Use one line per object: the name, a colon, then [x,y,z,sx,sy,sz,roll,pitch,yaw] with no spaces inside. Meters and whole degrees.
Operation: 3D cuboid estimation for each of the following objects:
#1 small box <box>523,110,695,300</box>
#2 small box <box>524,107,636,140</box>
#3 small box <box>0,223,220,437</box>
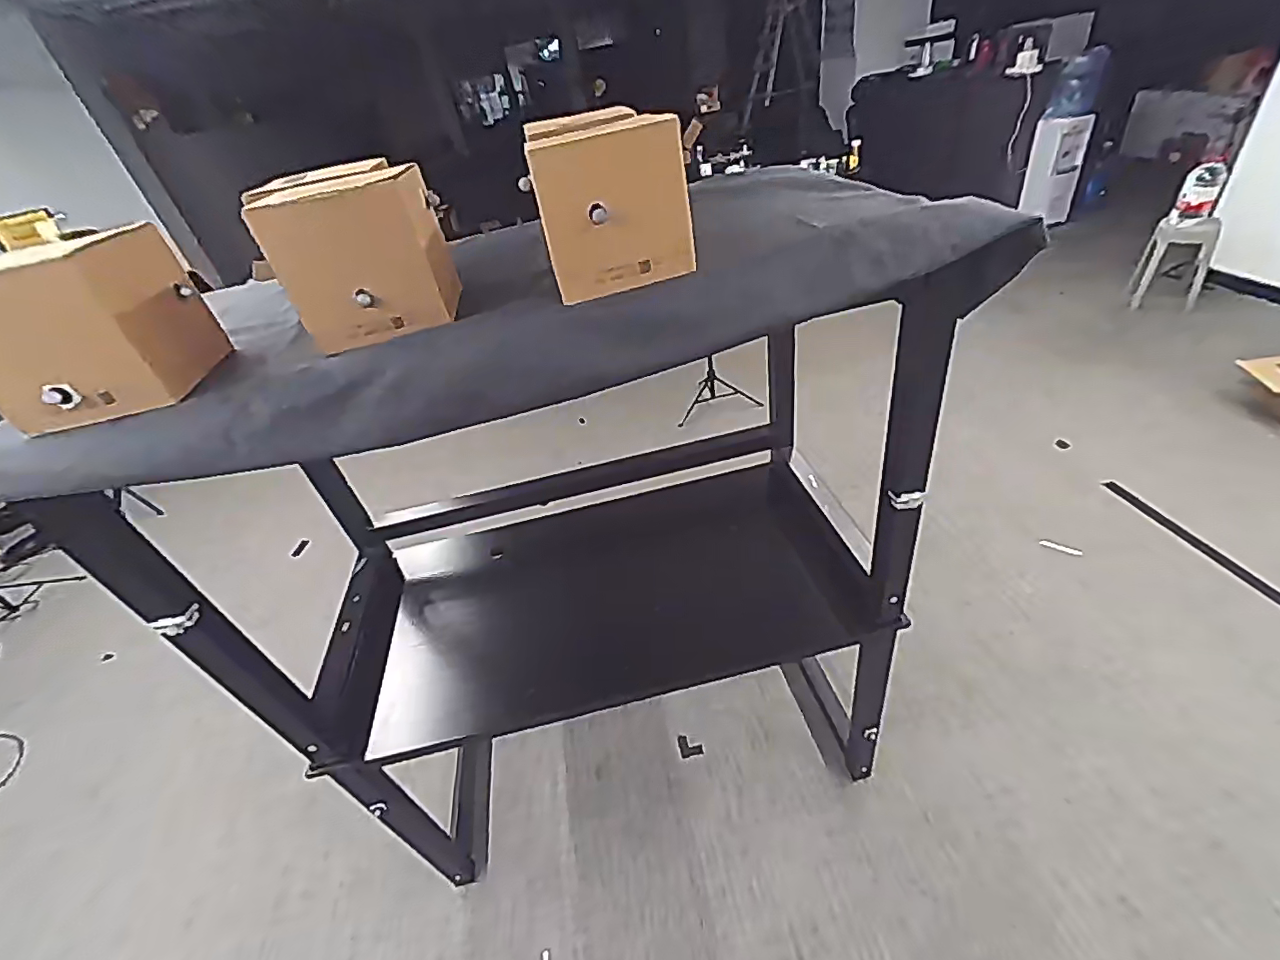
small box: [-0.038,-0.333,0.660,0.168,0.176,0.179,-15,35,-4]
small box: [-0.086,-0.493,0.883,0.168,0.176,0.179,-14,37,-3]
small box: [-0.628,-0.172,0.610,0.168,0.176,0.179,-16,37,-5]
